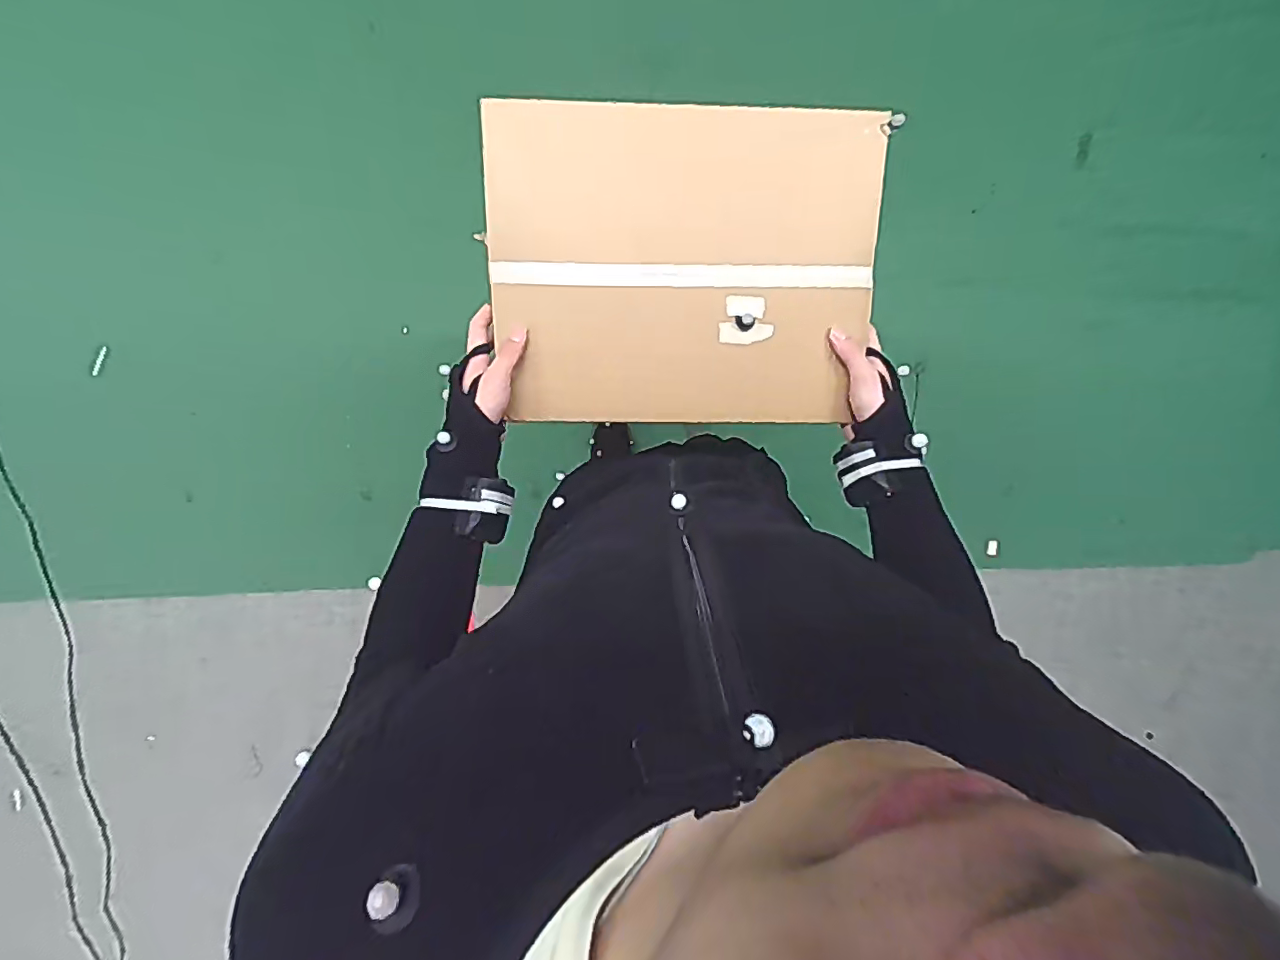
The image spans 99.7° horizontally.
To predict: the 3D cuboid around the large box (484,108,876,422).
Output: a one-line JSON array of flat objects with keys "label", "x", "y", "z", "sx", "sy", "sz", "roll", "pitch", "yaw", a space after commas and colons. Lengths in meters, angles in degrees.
[{"label": "large box", "x": 0.035, "y": -0.257, "z": 0.721, "sx": 0.408, "sy": 0.320, "sz": 0.320, "roll": -1, "pitch": 106, "yaw": -3}]
